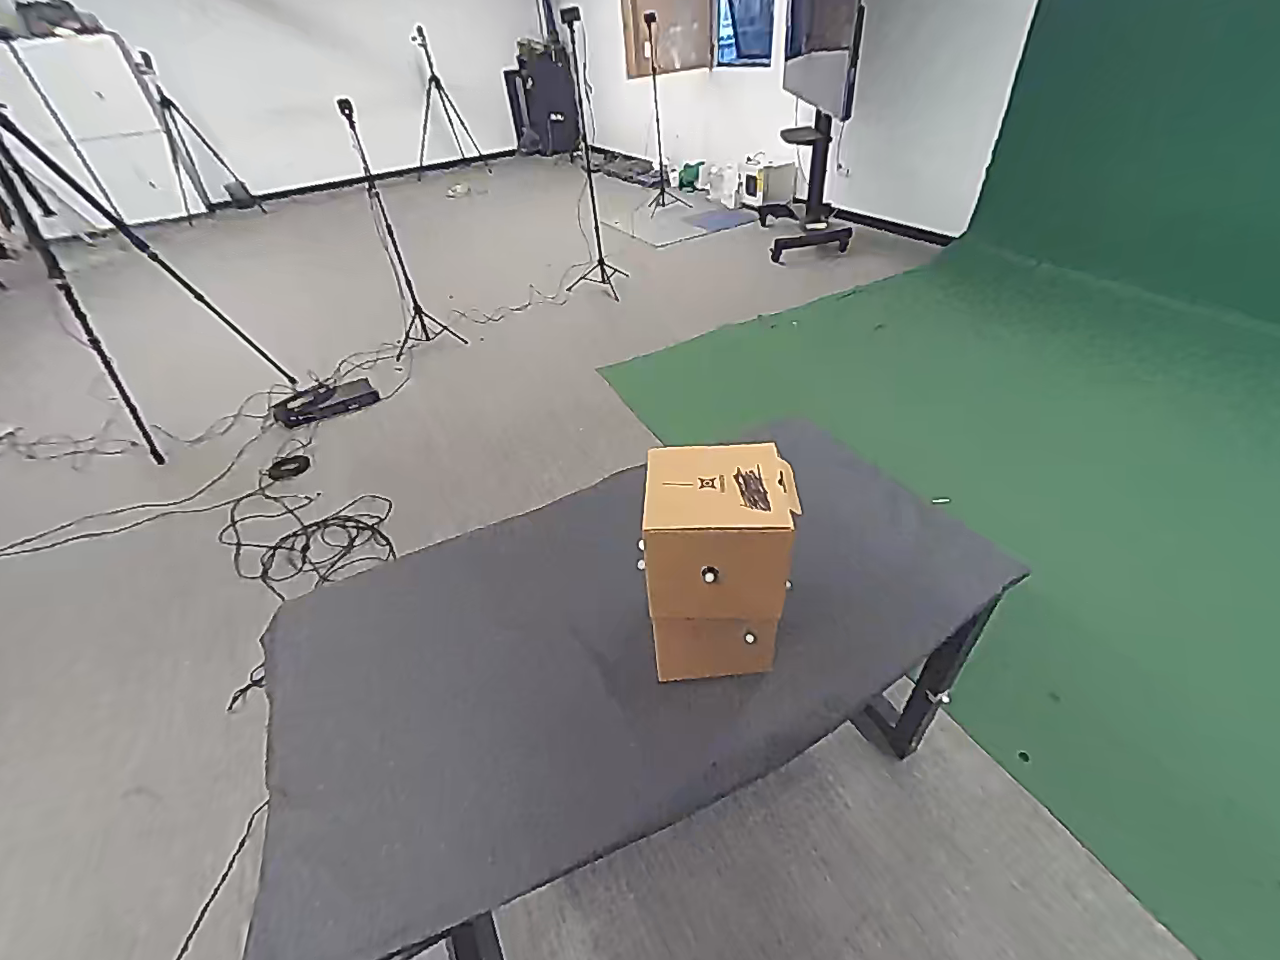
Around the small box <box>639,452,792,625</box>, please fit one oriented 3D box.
[{"bbox_3d":[0.097,0.078,0.725,0.179,0.176,0.168,-1,39,6],"label":"small box"}]
